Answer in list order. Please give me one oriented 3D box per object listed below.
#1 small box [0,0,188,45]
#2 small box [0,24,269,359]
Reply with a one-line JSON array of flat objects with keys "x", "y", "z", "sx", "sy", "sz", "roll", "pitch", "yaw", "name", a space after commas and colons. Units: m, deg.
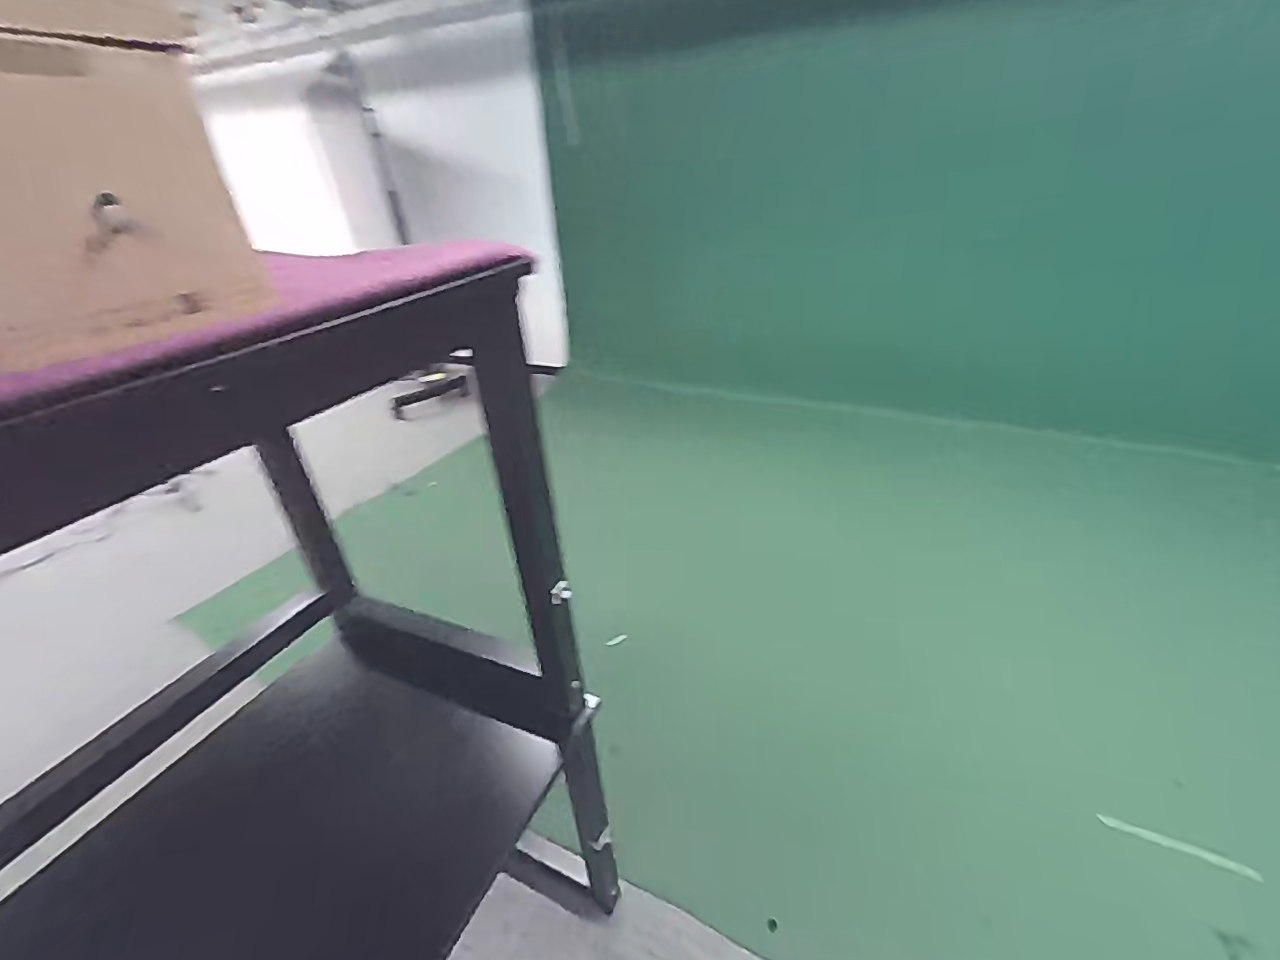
[{"x": -0.405, "y": -0.334, "z": 0.288, "sx": 0.179, "sy": 0.176, "sz": 0.168, "roll": 14, "pitch": 36, "yaw": 25, "name": "small box"}, {"x": -0.402, "y": -0.190, "z": 0.365, "sx": 0.179, "sy": 0.176, "sz": 0.168, "roll": 12, "pitch": 34, "yaw": 23, "name": "small box"}]
